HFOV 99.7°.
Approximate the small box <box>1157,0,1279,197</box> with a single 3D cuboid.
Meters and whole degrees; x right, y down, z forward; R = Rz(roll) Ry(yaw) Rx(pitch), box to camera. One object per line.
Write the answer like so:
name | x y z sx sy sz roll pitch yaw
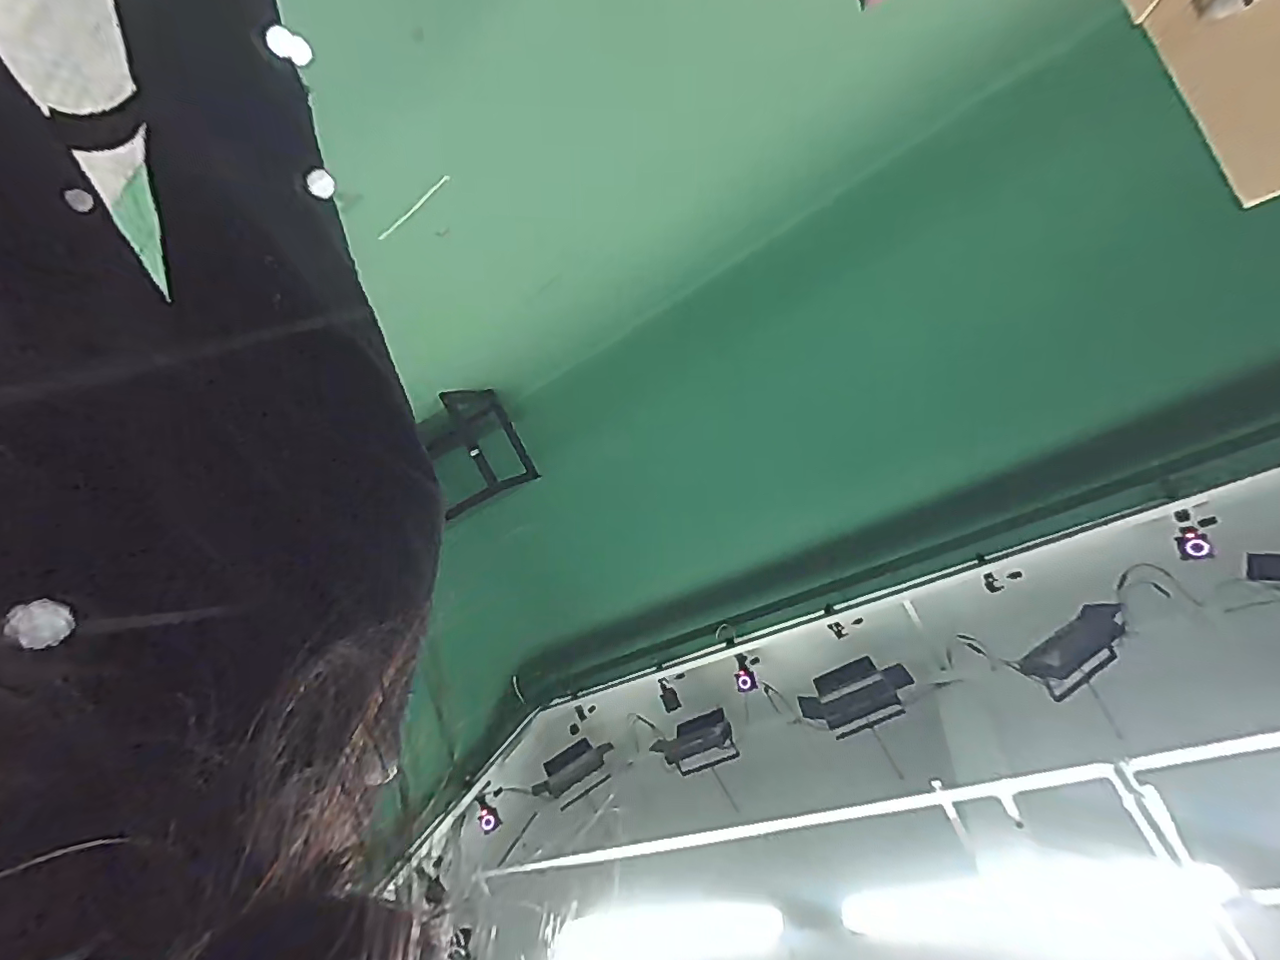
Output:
small box | 0.467 -0.309 0.305 0.179 0.176 0.168 -28 179 25
